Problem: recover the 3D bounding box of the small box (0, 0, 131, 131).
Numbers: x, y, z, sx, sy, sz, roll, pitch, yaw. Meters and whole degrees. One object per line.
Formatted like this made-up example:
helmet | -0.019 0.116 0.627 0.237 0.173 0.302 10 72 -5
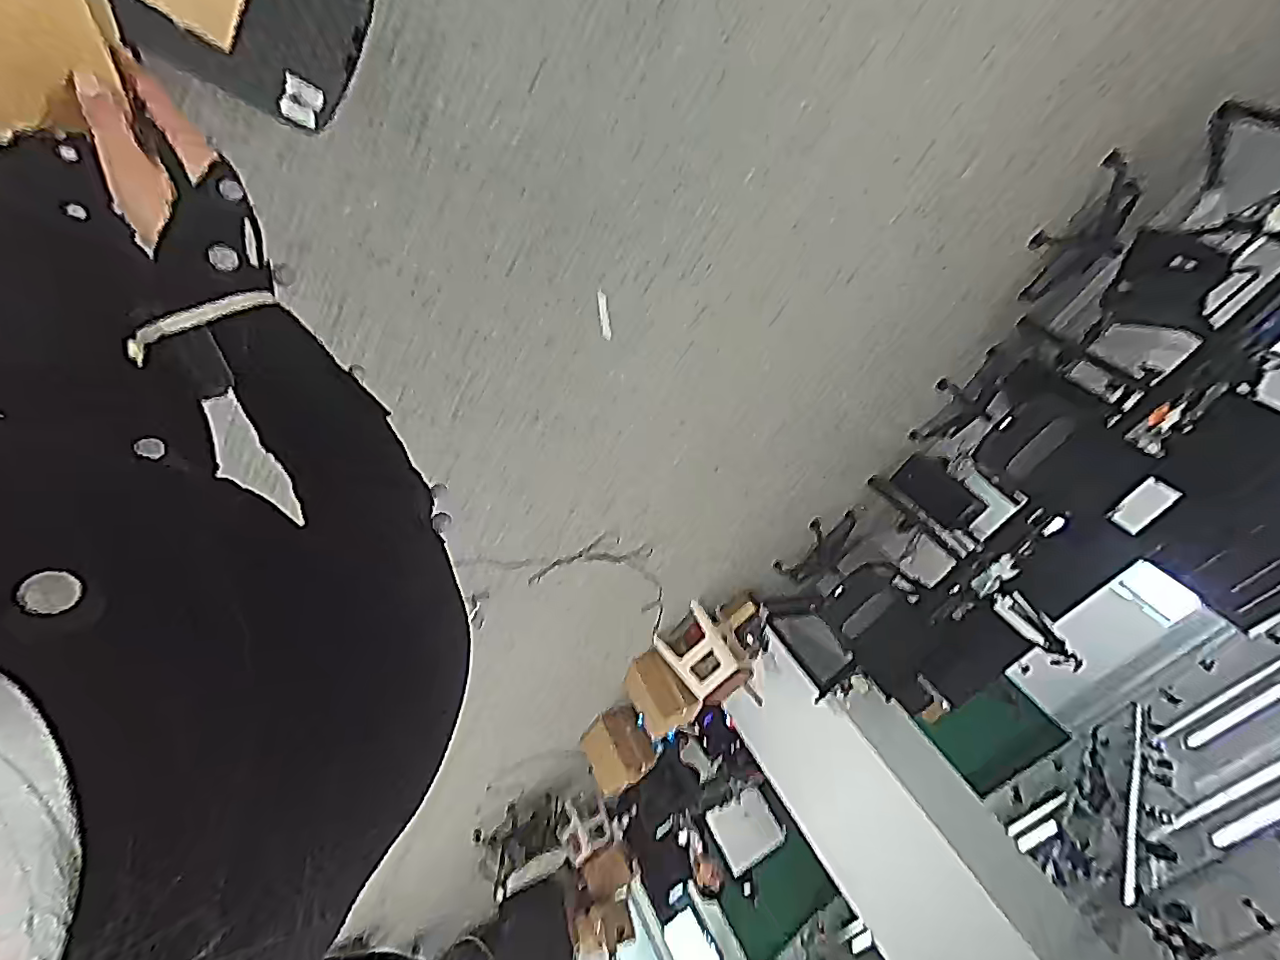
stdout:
small box | -0.411 -0.313 0.274 0.168 0.176 0.179 -19 153 -30
